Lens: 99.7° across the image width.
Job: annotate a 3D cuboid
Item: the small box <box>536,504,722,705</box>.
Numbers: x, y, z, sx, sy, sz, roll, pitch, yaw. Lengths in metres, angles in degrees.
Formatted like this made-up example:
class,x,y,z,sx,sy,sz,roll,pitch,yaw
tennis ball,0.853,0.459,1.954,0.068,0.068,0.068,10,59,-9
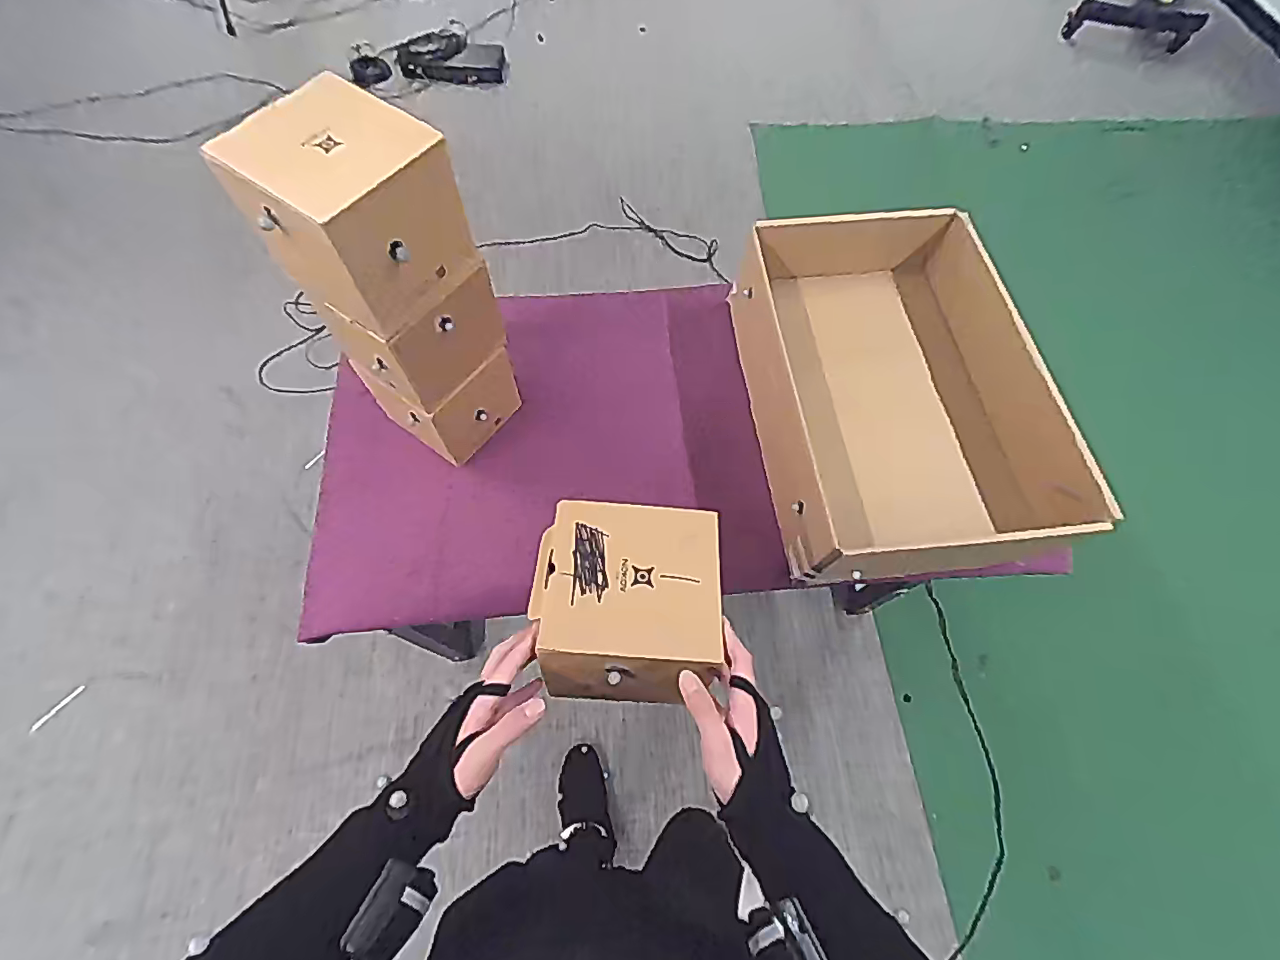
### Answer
class,x,y,z,sx,sy,sz,roll,pitch,yaw
small box,-0.011,0.145,0.606,0.179,0.176,0.168,5,55,-2

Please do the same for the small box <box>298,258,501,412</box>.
class,x,y,z,sx,sy,sz,roll,pitch,yaw
small box,-0.319,-0.229,0.761,0.168,0.176,0.179,35,68,12

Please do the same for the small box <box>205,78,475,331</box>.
class,x,y,z,sx,sy,sz,roll,pitch,yaw
small box,-0.316,-0.299,0.616,0.179,0.176,0.168,33,68,12

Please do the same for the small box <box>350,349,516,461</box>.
class,x,y,z,sx,sy,sz,roll,pitch,yaw
small box,-0.331,-0.154,0.905,0.179,0.176,0.168,34,67,13
